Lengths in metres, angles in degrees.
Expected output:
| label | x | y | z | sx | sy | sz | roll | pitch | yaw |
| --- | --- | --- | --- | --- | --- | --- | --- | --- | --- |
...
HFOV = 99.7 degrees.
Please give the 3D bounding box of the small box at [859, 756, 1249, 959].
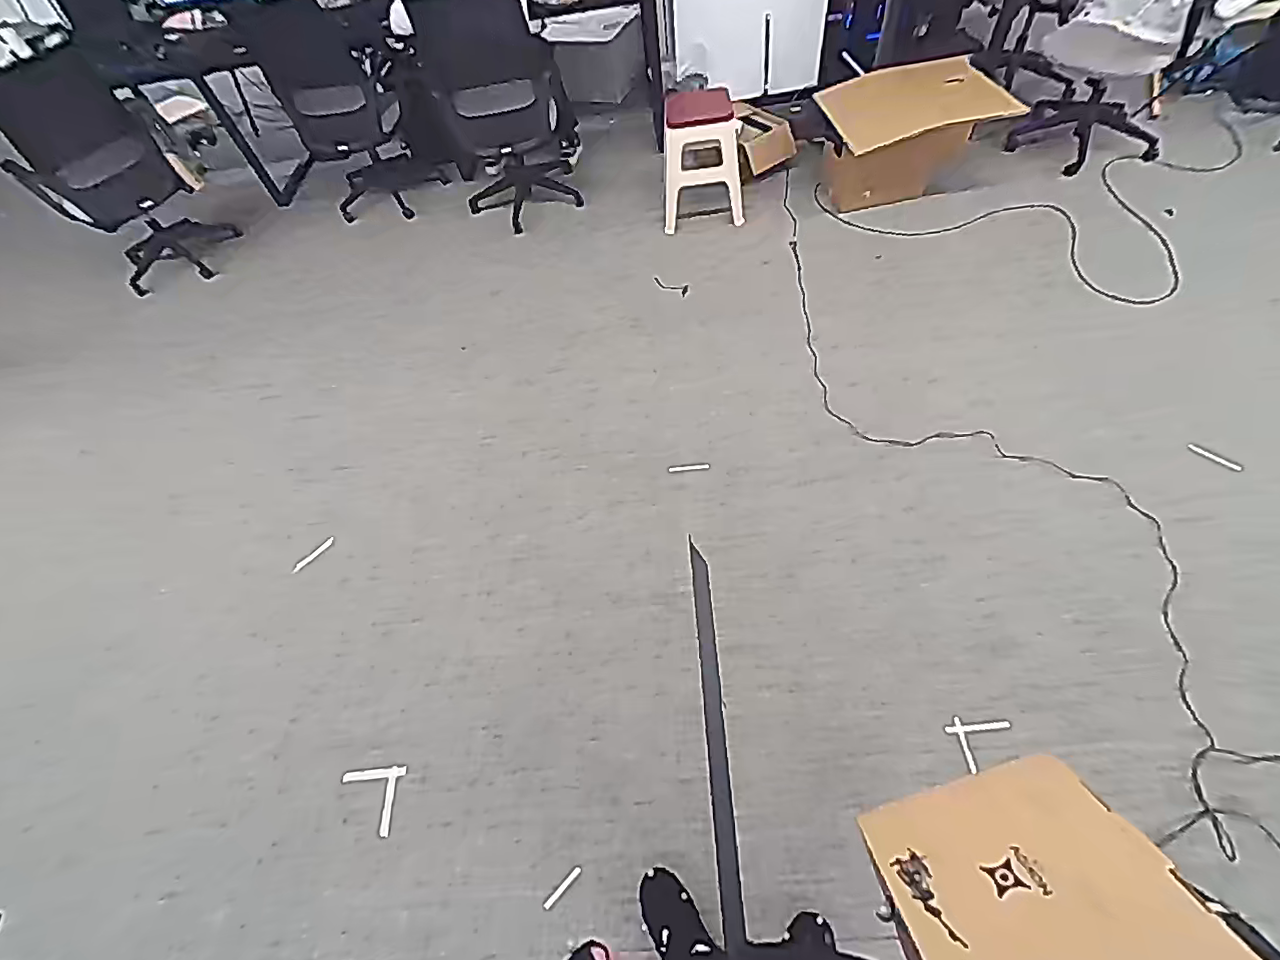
| label | x | y | z | sx | sy | sz | roll | pitch | yaw |
| --- | --- | --- | --- | --- | --- | --- | --- | --- | --- |
| small box | 0.302 | 0.360 | 0.415 | 0.179 | 0.176 | 0.168 | -21 | 14 | 5 |
